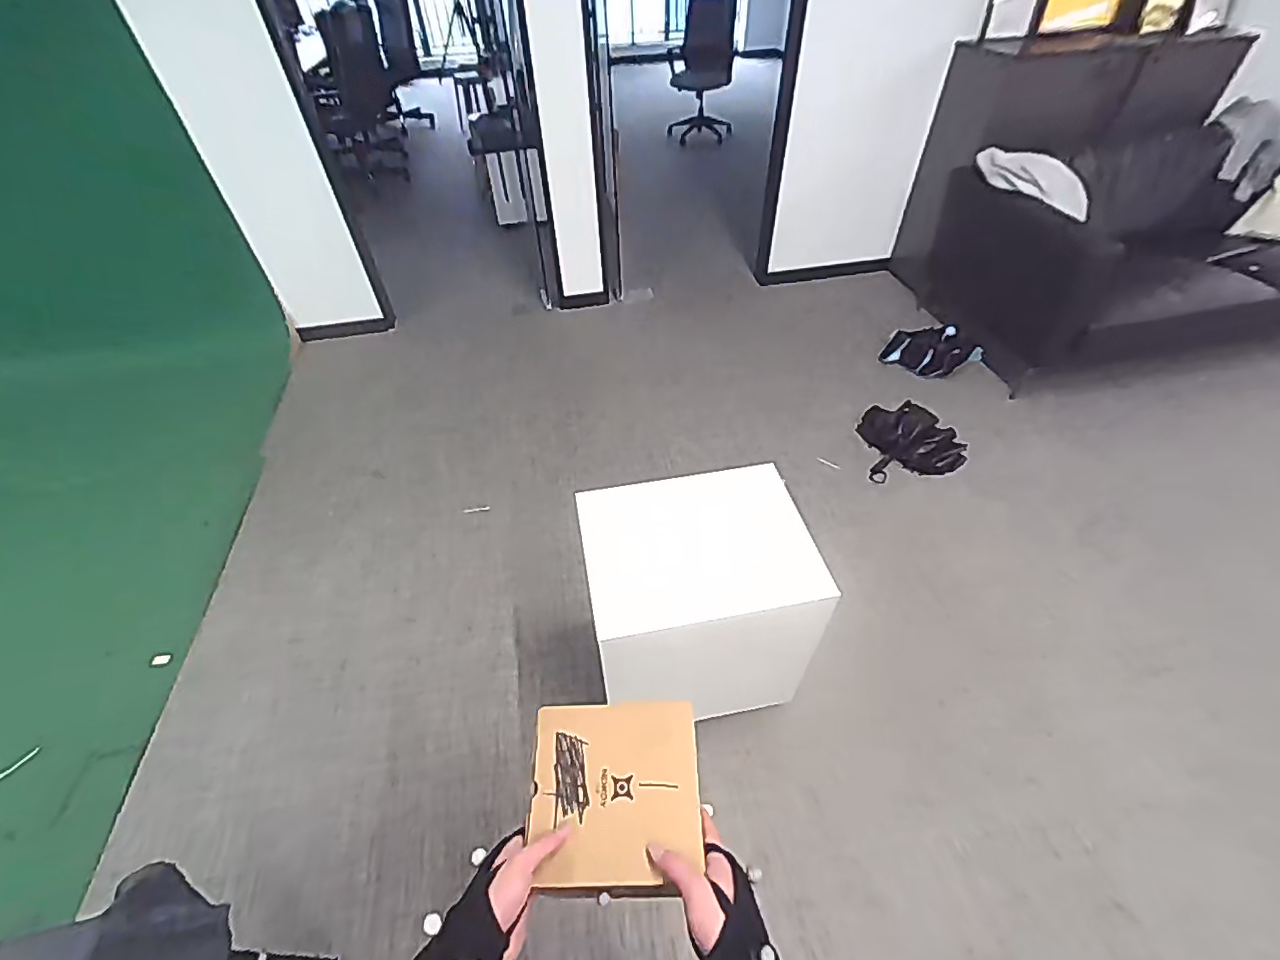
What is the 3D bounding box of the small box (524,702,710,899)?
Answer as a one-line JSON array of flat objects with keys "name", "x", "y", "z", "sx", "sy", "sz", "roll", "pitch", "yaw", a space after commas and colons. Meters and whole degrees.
[{"name": "small box", "x": -0.018, "y": 0.363, "z": 0.608, "sx": 0.179, "sy": 0.176, "sz": 0.168, "roll": -2, "pitch": 50, "yaw": 1}]
